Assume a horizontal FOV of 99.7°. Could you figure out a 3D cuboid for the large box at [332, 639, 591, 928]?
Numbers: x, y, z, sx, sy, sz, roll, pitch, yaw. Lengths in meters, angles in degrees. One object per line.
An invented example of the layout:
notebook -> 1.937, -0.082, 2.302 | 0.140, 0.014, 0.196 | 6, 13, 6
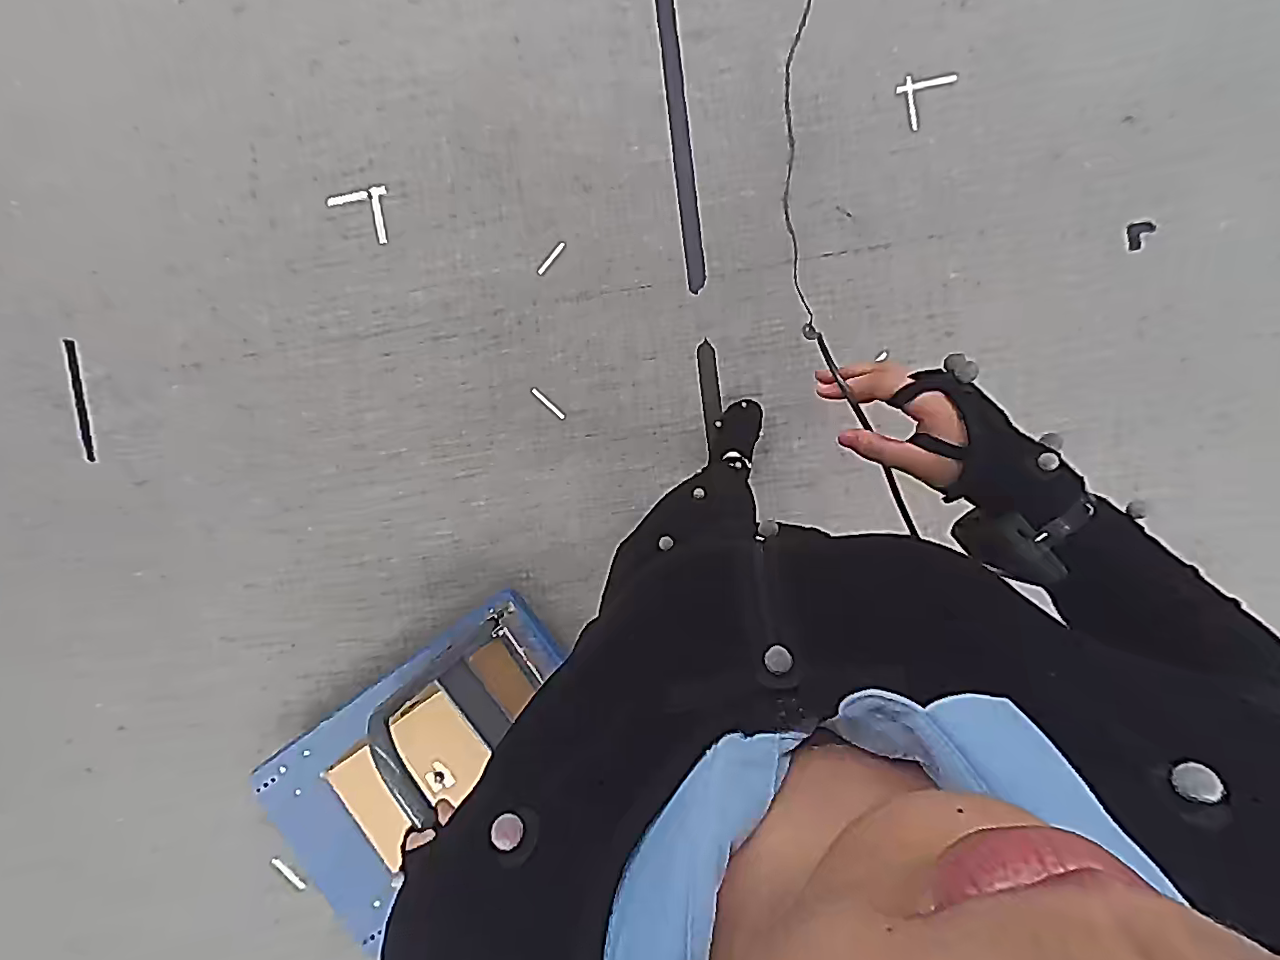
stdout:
large box -> -0.366, 0.642, 1.210 | 0.320, 0.320, 0.408 | -36, 88, 3
